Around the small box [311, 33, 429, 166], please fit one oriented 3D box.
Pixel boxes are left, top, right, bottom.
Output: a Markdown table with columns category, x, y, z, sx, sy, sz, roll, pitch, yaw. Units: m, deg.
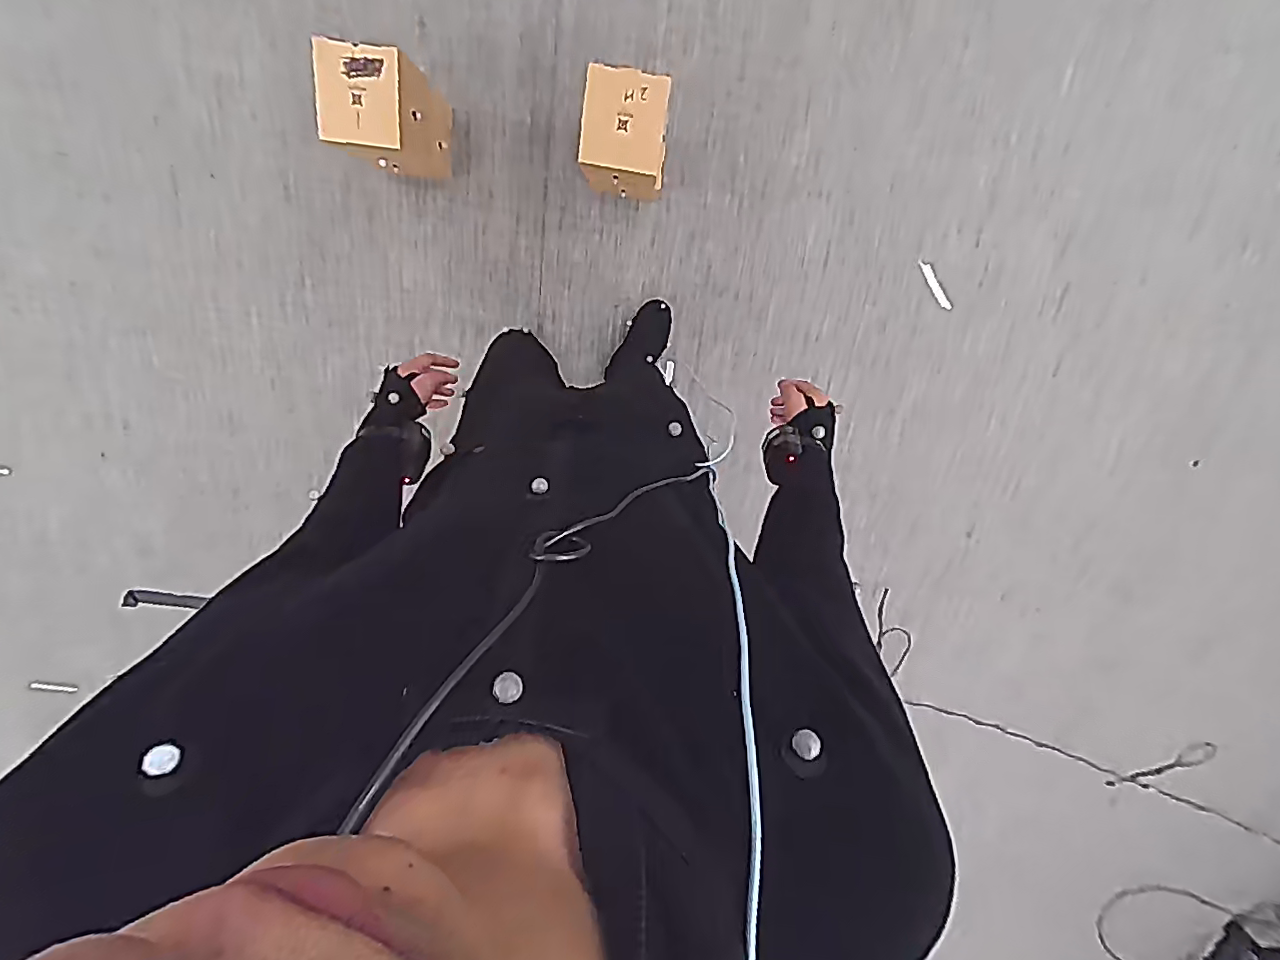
| category | x | y | z | sx | sy | sz | roll | pitch | yaw |
| --- | --- | --- | --- | --- | --- | --- | --- | --- | --- |
| small box | -0.554 | -0.782 | 1.129 | 0.168 | 0.176 | 0.179 | 7 | 110 | -2 |

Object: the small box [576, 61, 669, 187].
| category | x | y | z | sx | sy | sz | roll | pitch | yaw |
| --- | --- | --- | --- | --- | --- | --- | --- | --- | --- |
| small box | -0.037 | -0.742 | 1.149 | 0.168 | 0.176 | 0.179 | 9 | 109 | -4 |

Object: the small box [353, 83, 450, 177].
| category | x | y | z | sx | sy | sz | roll | pitch | yaw |
| --- | --- | --- | --- | --- | --- | --- | --- | --- | --- |
| small box | -0.560 | -0.834 | 1.285 | 0.179 | 0.176 | 0.168 | 6 | 109 | -2 |
